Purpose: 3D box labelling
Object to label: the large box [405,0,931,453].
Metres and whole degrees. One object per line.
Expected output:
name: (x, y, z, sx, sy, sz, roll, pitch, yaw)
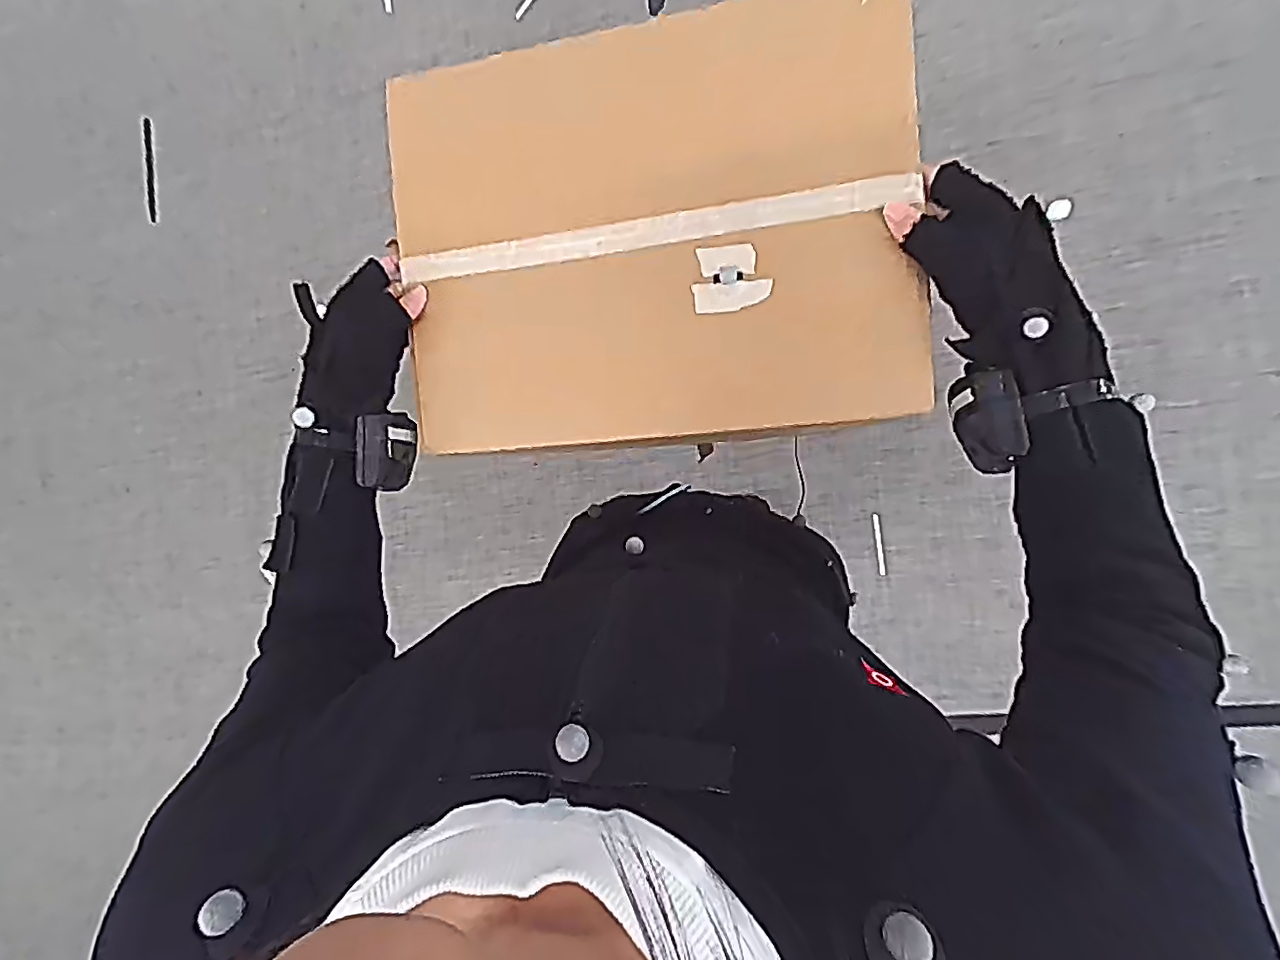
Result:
large box: (0.032, -0.202, 0.574, 0.408, 0.320, 0.320, -5, 93, 10)
